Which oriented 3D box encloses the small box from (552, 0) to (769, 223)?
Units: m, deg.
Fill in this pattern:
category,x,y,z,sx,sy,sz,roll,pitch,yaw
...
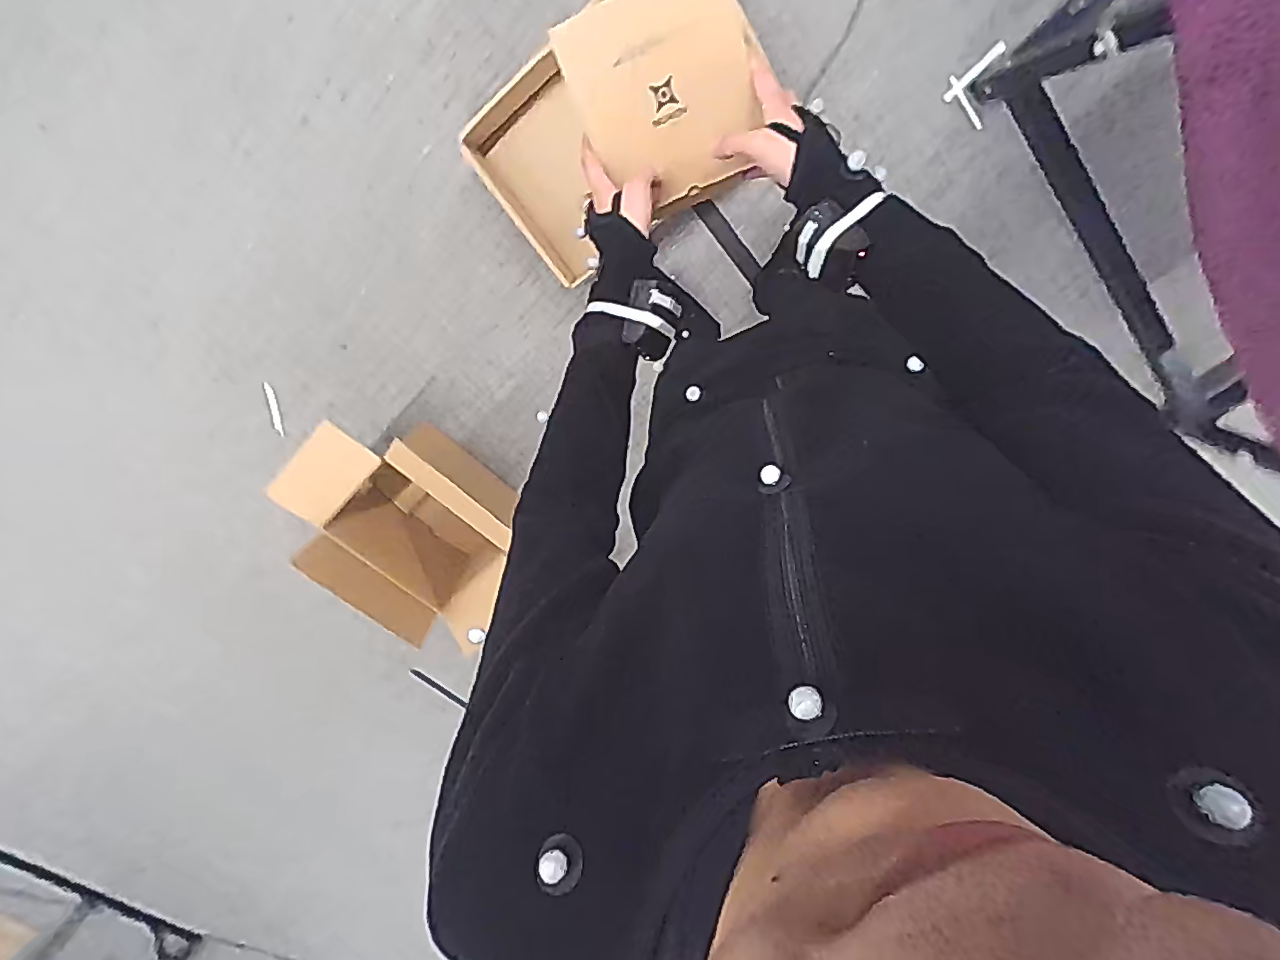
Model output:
category,x,y,z,sx,sy,sz,roll,pitch,yaw
small box,0.026,-0.408,0.577,0.168,0.176,0.179,-18,124,11
